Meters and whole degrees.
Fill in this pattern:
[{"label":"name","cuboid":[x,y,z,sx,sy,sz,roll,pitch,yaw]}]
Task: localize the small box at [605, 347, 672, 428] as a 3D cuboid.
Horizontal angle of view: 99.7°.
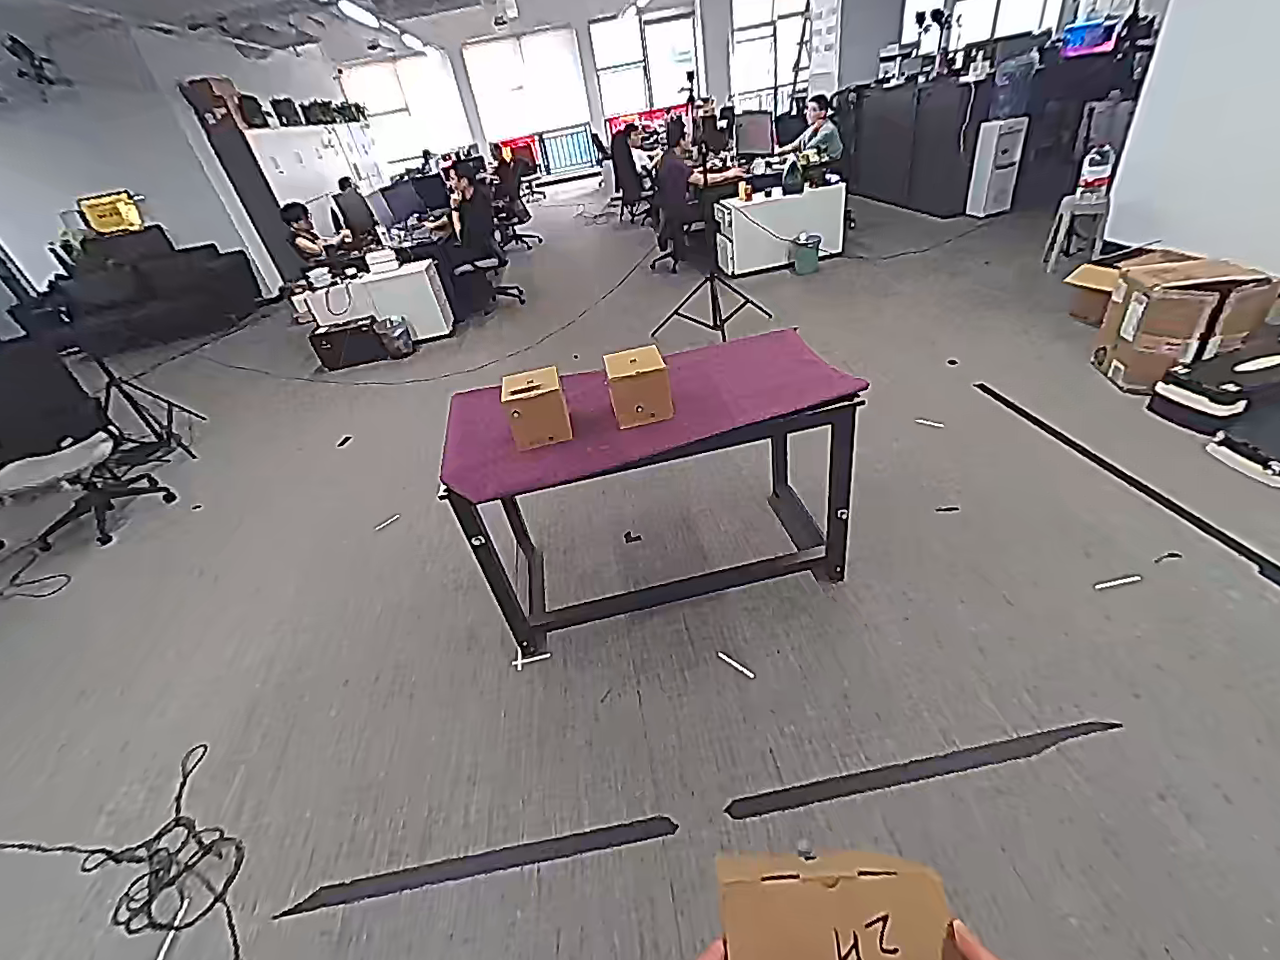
[{"label":"small box","cuboid":[-0.005,-0.278,1.624,0.168,0.176,0.179,-13,36,-2]}]
